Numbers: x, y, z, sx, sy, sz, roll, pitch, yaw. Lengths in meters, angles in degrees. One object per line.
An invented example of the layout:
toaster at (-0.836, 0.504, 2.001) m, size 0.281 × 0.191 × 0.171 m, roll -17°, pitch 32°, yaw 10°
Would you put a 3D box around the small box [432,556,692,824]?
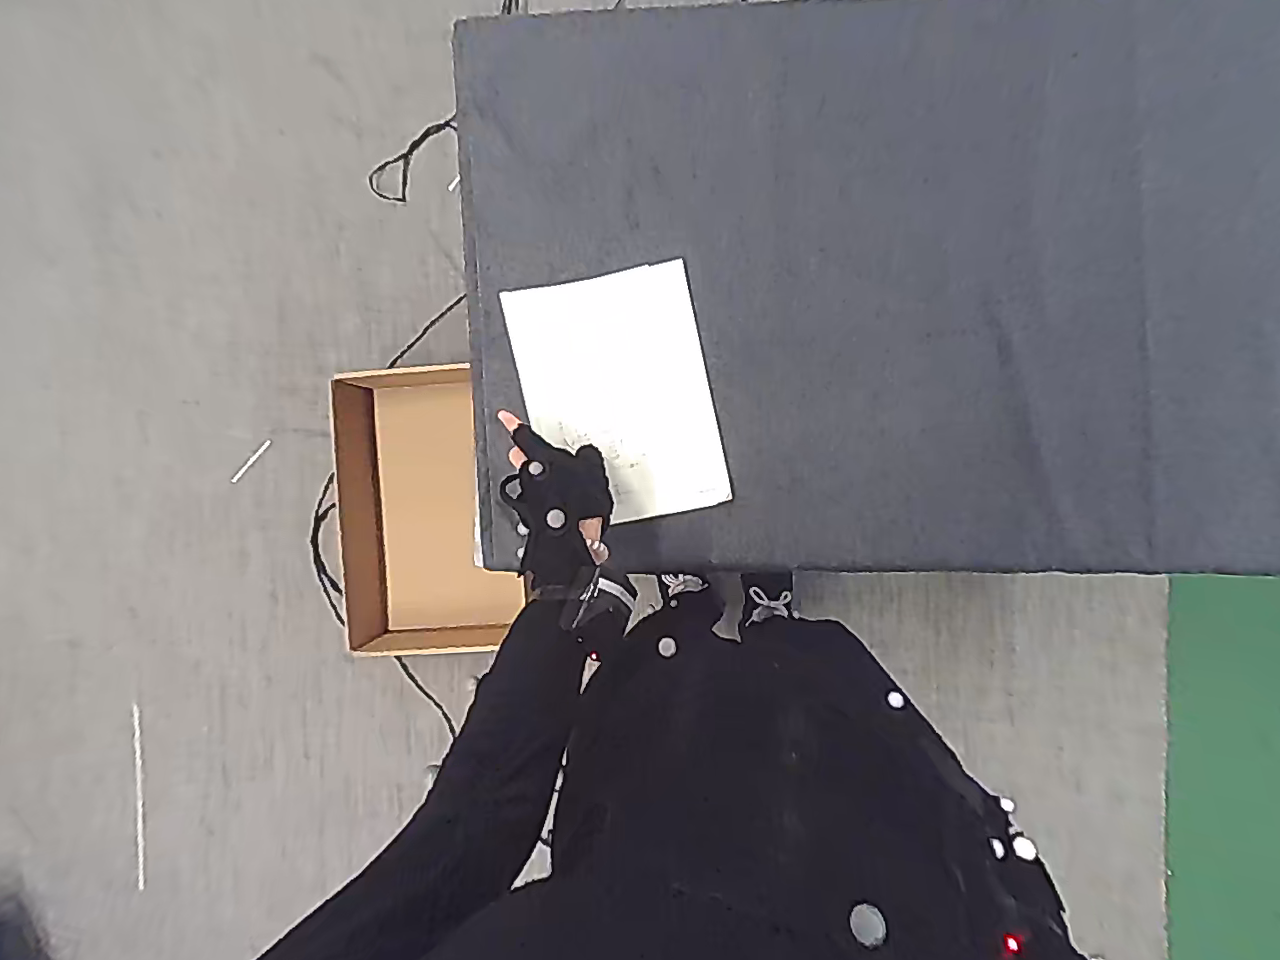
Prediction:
small box at (-0.075, 0.154, 0.458) m, size 0.179 × 0.176 × 0.168 m, roll 1°, pitch 86°, yaw -25°
